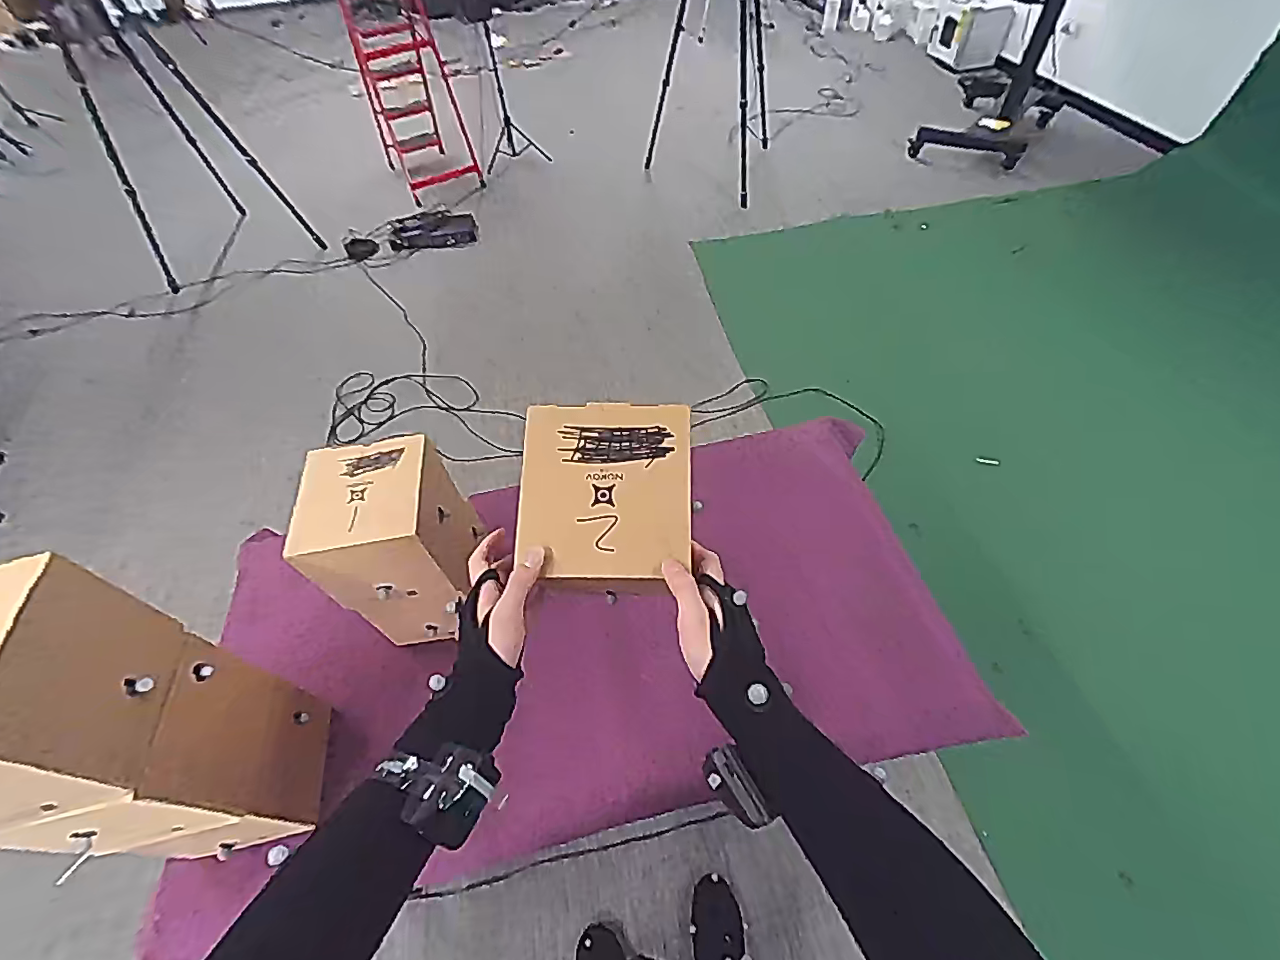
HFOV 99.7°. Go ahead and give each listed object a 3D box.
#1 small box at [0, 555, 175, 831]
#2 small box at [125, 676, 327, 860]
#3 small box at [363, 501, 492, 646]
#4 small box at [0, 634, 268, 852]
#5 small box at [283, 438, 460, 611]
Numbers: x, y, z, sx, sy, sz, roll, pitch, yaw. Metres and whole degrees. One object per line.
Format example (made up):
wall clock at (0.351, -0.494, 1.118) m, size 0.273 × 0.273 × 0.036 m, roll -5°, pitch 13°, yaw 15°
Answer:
small box at (-0.581, 0.199, 0.491) m, size 0.168 × 0.176 × 0.179 m, roll -14°, pitch 51°, yaw -5°
small box at (-0.564, 0.400, 0.748) m, size 0.168 × 0.176 × 0.179 m, roll -12°, pitch 52°, yaw -5°
small box at (-0.355, 0.160, 0.917) m, size 0.168 × 0.176 × 0.179 m, roll -8°, pitch 53°, yaw -2°
small box at (-0.568, 0.305, 0.617) m, size 0.168 × 0.176 × 0.179 m, roll -12°, pitch 51°, yaw -4°
small box at (-0.369, 0.066, 0.782) m, size 0.168 × 0.176 × 0.179 m, roll -9°, pitch 54°, yaw -3°
